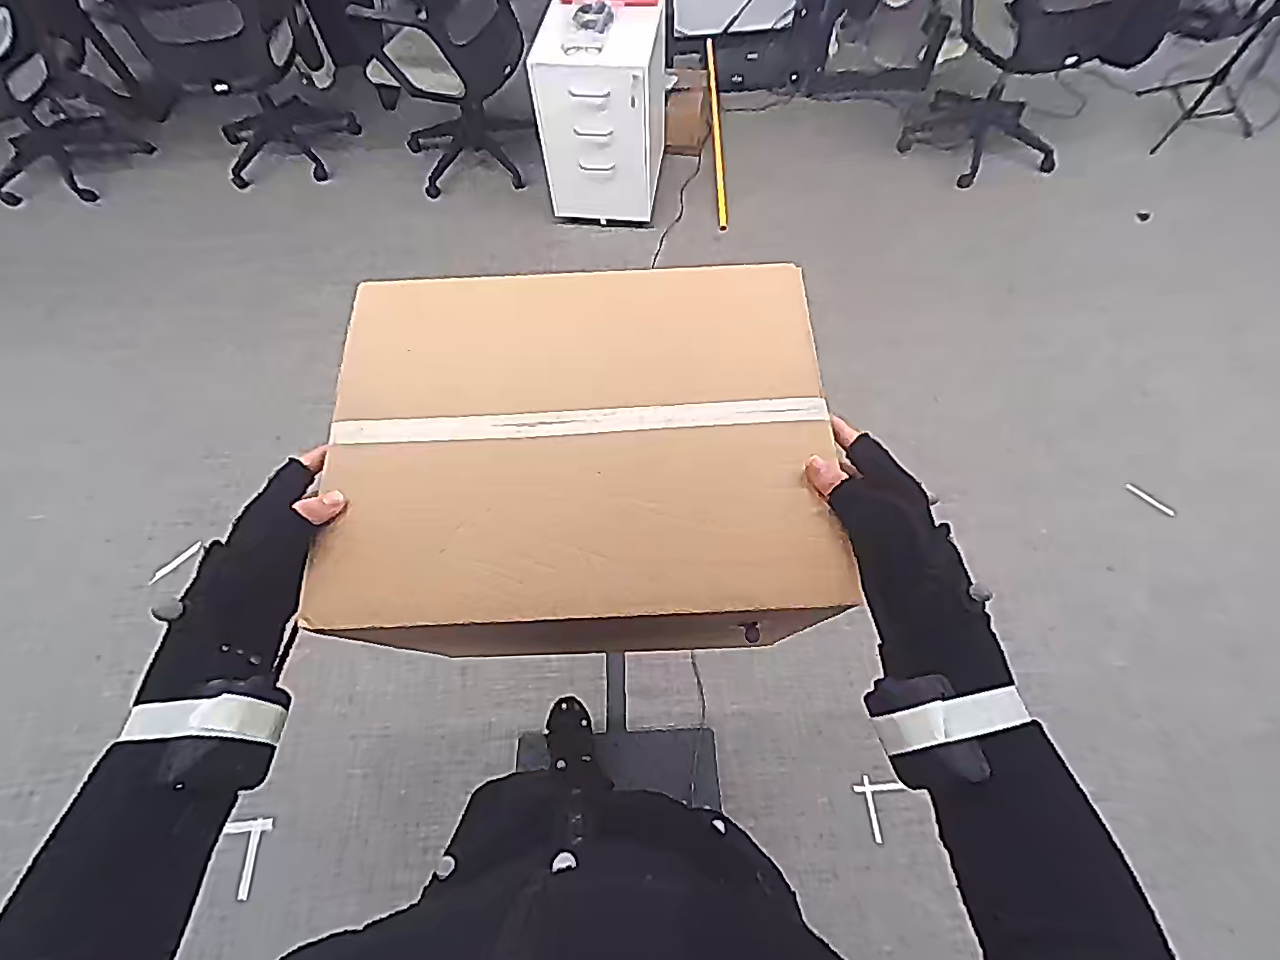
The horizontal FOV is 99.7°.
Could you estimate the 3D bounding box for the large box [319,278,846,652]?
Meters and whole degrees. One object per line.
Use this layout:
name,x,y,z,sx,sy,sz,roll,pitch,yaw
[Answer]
large box,-0.046,0.014,0.594,0.408,0.320,0.320,-2,68,0

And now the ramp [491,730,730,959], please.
ramp,-0.060,1.034,1.059,0.509,0.206,0.991,-4,62,0
